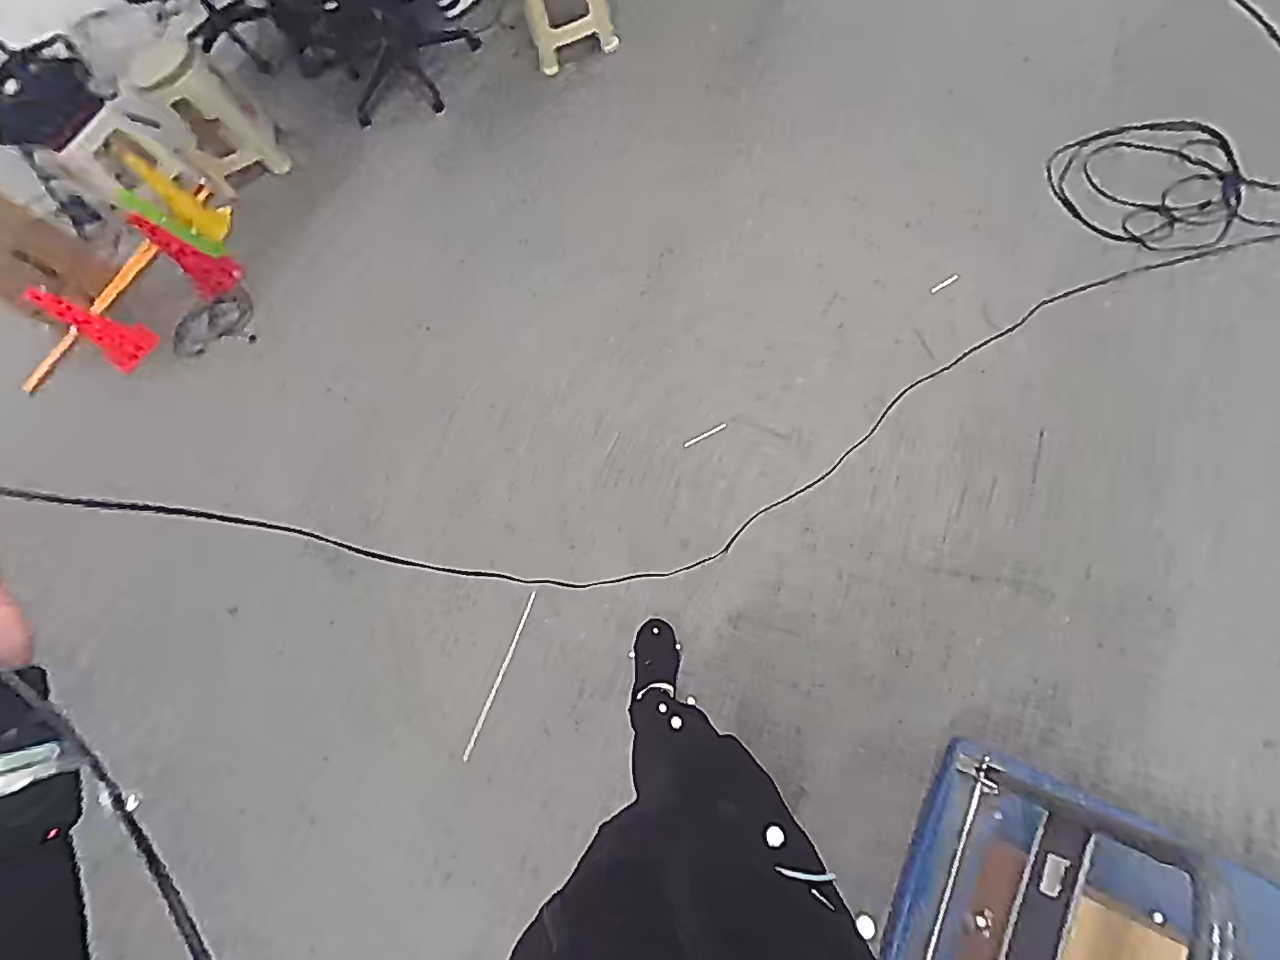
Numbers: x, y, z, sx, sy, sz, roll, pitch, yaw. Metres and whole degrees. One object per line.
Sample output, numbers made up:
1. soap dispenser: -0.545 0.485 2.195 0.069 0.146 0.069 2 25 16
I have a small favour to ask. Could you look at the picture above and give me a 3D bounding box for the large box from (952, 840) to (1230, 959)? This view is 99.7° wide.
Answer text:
1. large box: 0.760 0.849 0.834 0.408 0.320 0.320 22 76 18
